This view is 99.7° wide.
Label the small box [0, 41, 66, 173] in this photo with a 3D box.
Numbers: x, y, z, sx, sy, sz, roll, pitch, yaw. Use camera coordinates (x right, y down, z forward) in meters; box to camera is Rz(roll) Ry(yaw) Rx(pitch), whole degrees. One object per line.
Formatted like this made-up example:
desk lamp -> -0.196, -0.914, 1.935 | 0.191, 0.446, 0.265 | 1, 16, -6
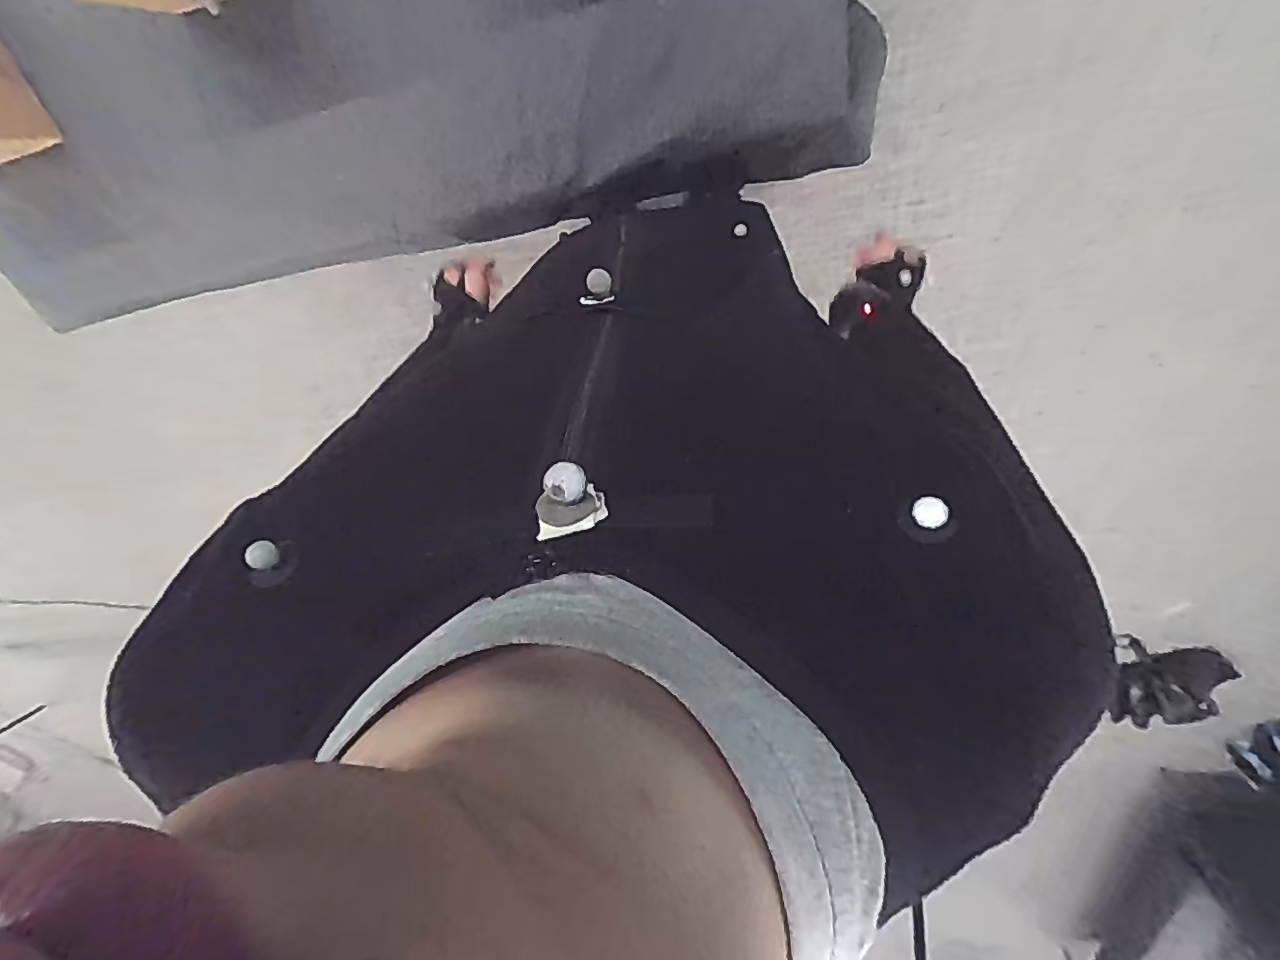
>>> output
small box -> -0.841, -0.449, 0.606 | 0.168, 0.176, 0.179 | -8, 122, 13
